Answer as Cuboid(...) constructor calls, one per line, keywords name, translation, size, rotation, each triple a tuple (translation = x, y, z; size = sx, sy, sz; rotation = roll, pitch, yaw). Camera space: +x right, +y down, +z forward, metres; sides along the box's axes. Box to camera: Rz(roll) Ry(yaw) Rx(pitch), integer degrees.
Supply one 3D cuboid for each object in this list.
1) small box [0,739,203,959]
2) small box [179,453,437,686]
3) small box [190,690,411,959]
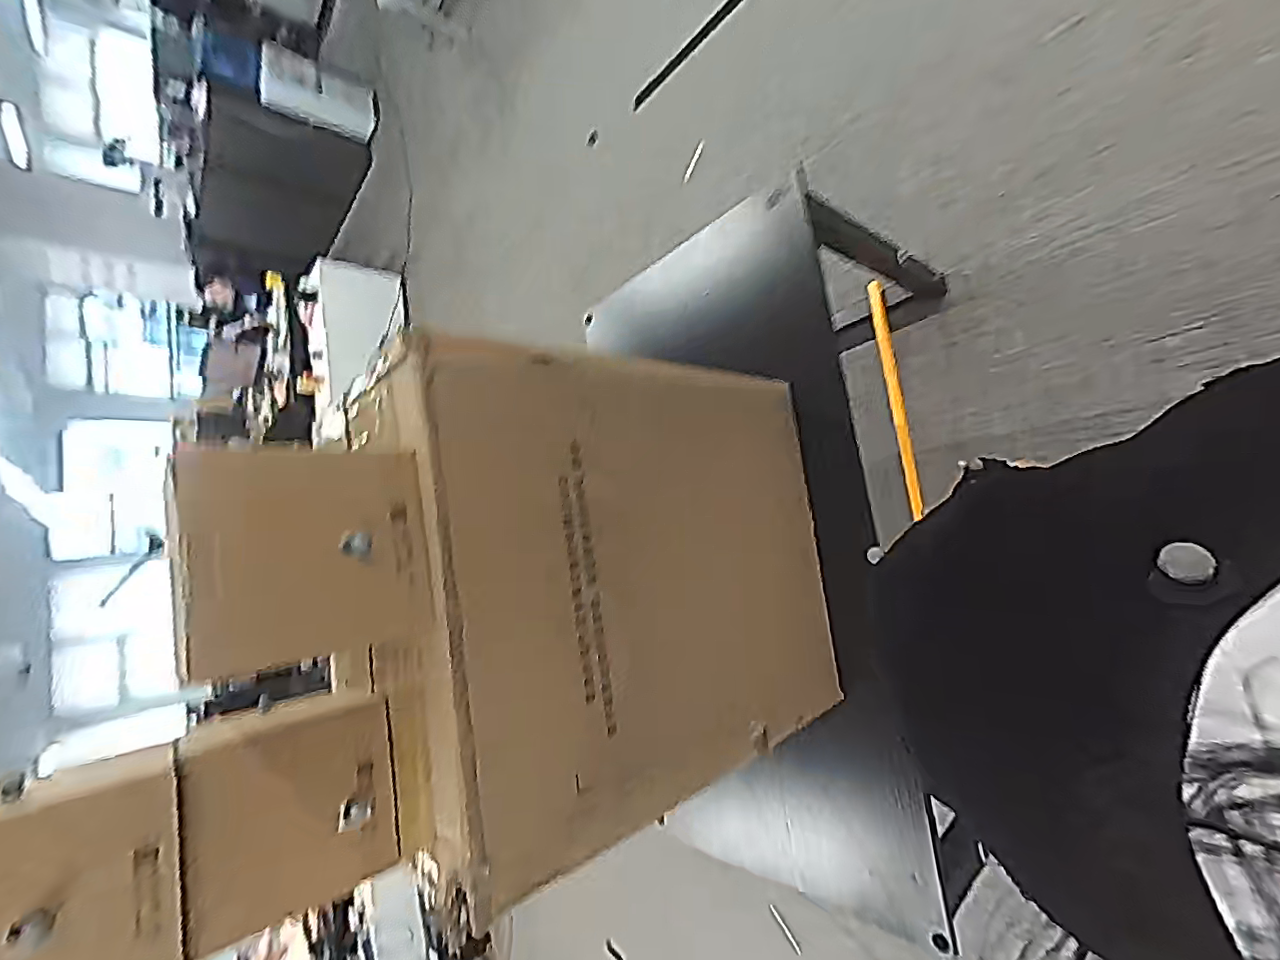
Cuboid(name="small box", translation=(-0.468, 0.331, 0.442), size=(0.179, 0.176, 0.168), rotation=(-19, 77, 47))
Cuboid(name="small box", translation=(-0.303, 0.075, 0.492), size=(0.179, 0.176, 0.168), rotation=(-18, 80, 46))
Cuboid(name="small box", translation=(-0.355, 0.327, 0.562), size=(0.179, 0.176, 0.168), rotation=(-22, 76, 46))
